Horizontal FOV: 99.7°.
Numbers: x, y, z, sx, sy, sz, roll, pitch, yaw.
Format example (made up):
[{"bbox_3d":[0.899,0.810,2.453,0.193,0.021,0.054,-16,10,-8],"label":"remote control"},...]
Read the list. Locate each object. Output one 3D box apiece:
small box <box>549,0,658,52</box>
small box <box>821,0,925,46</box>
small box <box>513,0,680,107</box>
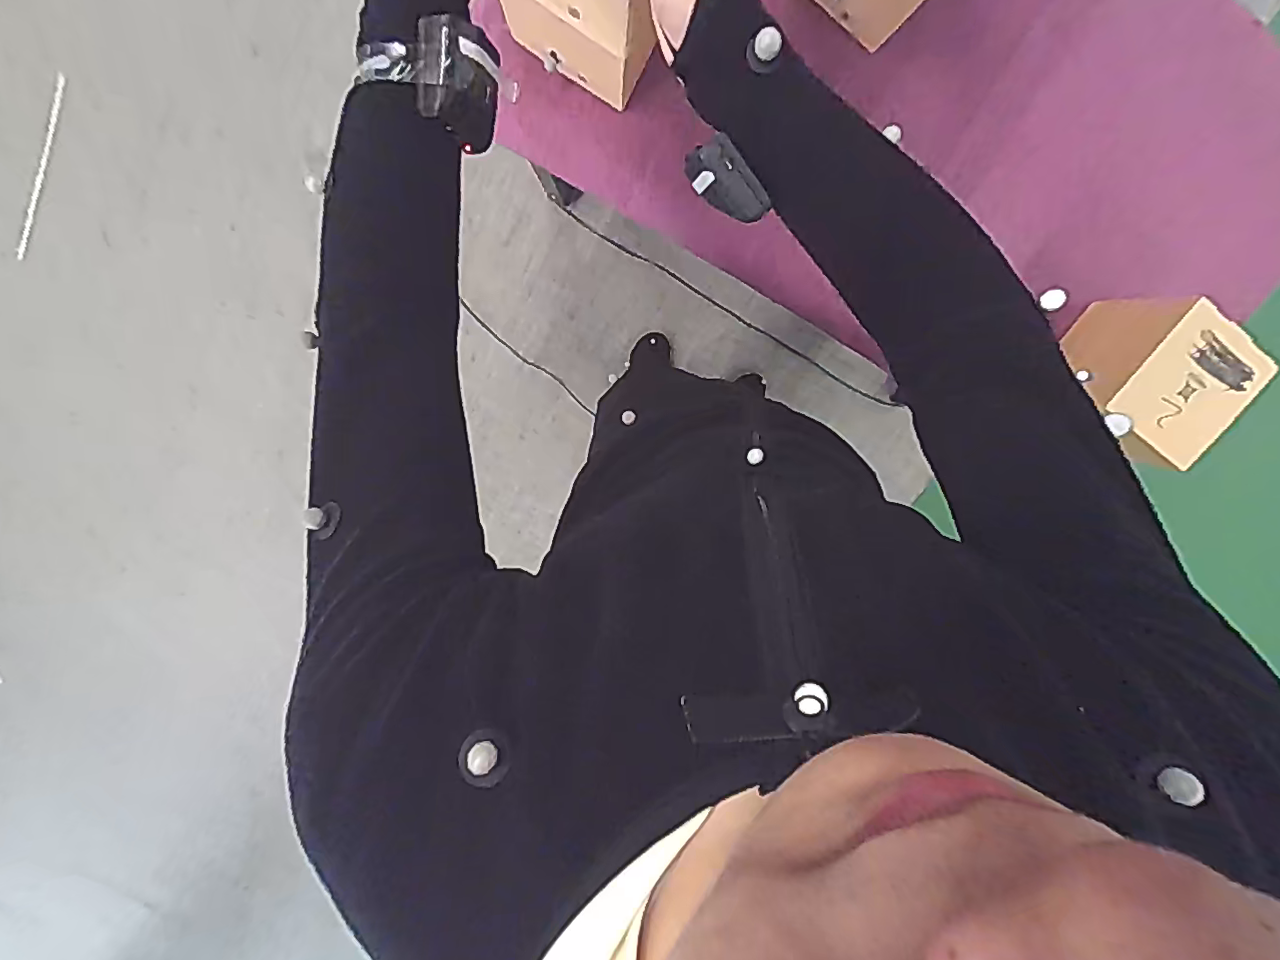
[{"bbox_3d":[-0.038,-0.541,0.478,0.168,0.176,0.179,29,101,-9],"label":"small box"},{"bbox_3d":[0.306,-0.670,0.622,0.168,0.176,0.179,33,103,-11],"label":"small box"},{"bbox_3d":[-0.045,-0.593,0.631,0.168,0.176,0.179,28,103,-9],"label":"small box"}]
